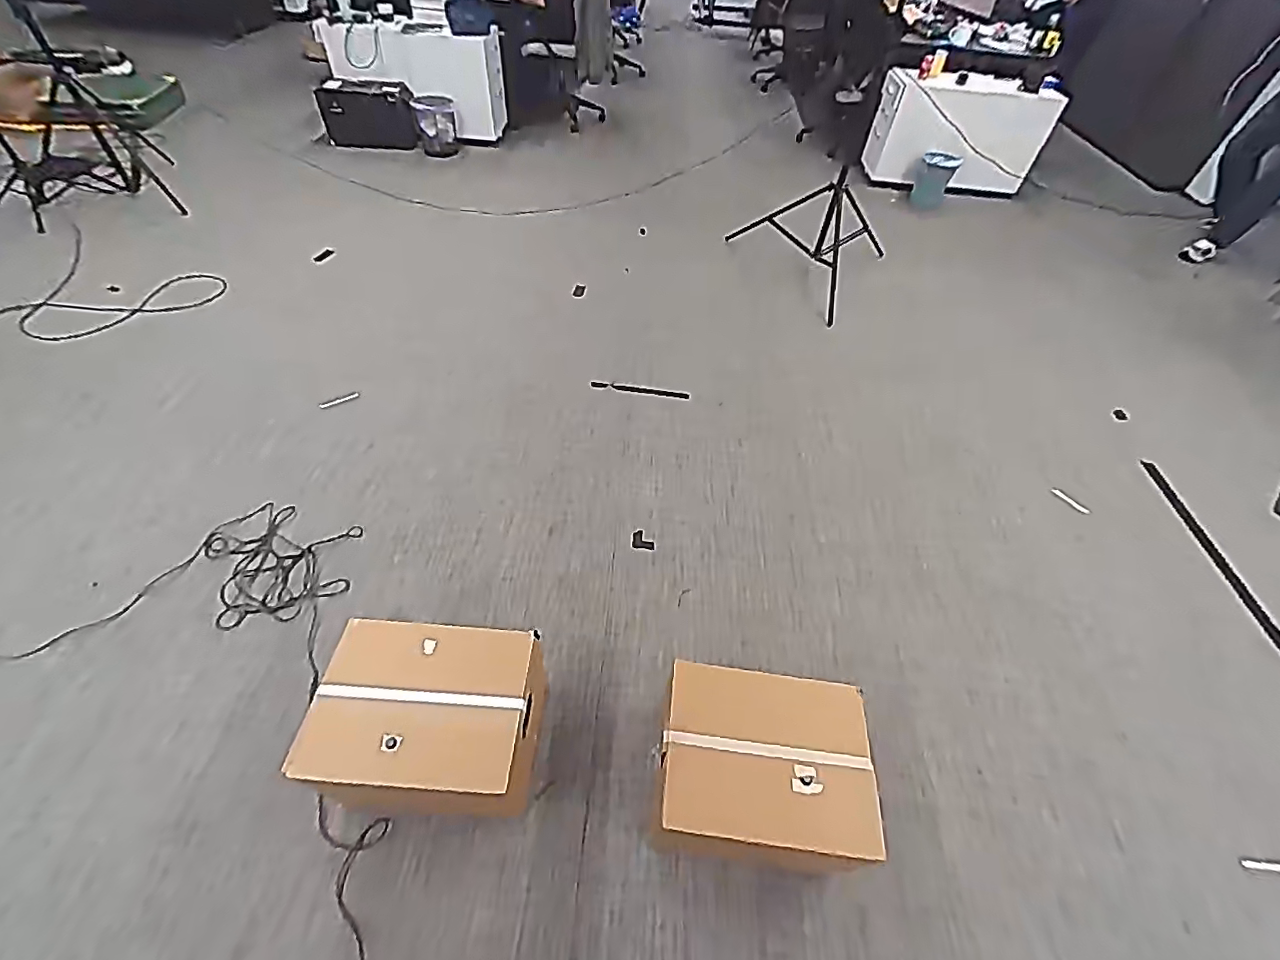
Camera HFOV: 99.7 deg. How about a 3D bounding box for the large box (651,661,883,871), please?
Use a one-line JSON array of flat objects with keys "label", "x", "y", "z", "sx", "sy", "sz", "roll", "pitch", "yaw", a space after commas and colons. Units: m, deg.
[{"label": "large box", "x": 0.245, "y": 0.627, "z": 1.181, "sx": 0.408, "sy": 0.320, "sz": 0.320, "roll": 8, "pitch": 49, "yaw": 1}]
